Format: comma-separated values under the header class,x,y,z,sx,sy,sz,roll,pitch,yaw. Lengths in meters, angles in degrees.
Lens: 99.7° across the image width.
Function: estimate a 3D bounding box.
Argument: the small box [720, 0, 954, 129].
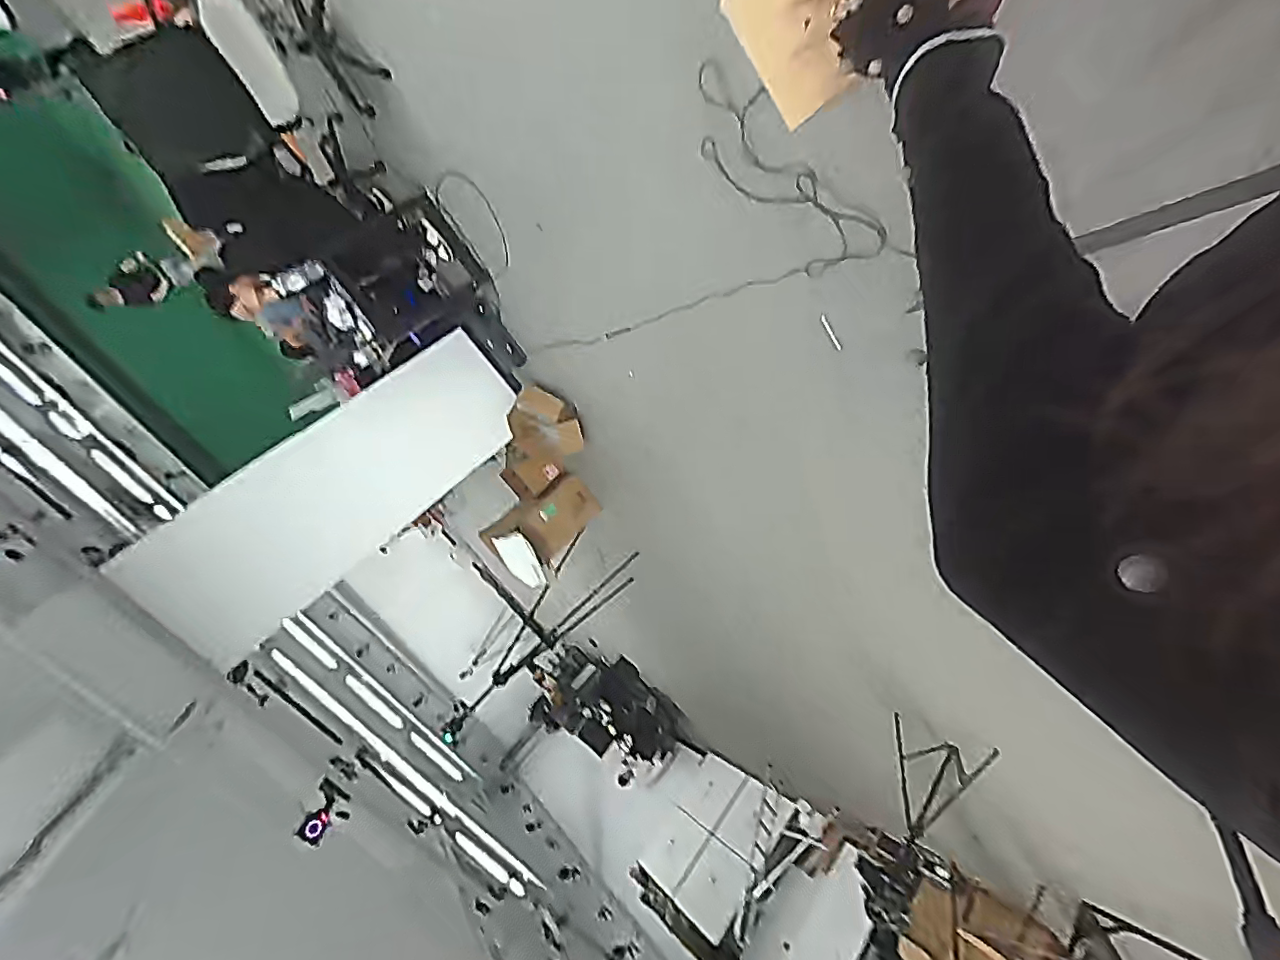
class,x,y,z,sx,sy,sz,roll,pitch,yaw
small box,0.231,-0.551,0.607,0.168,0.176,0.179,52,153,-15
